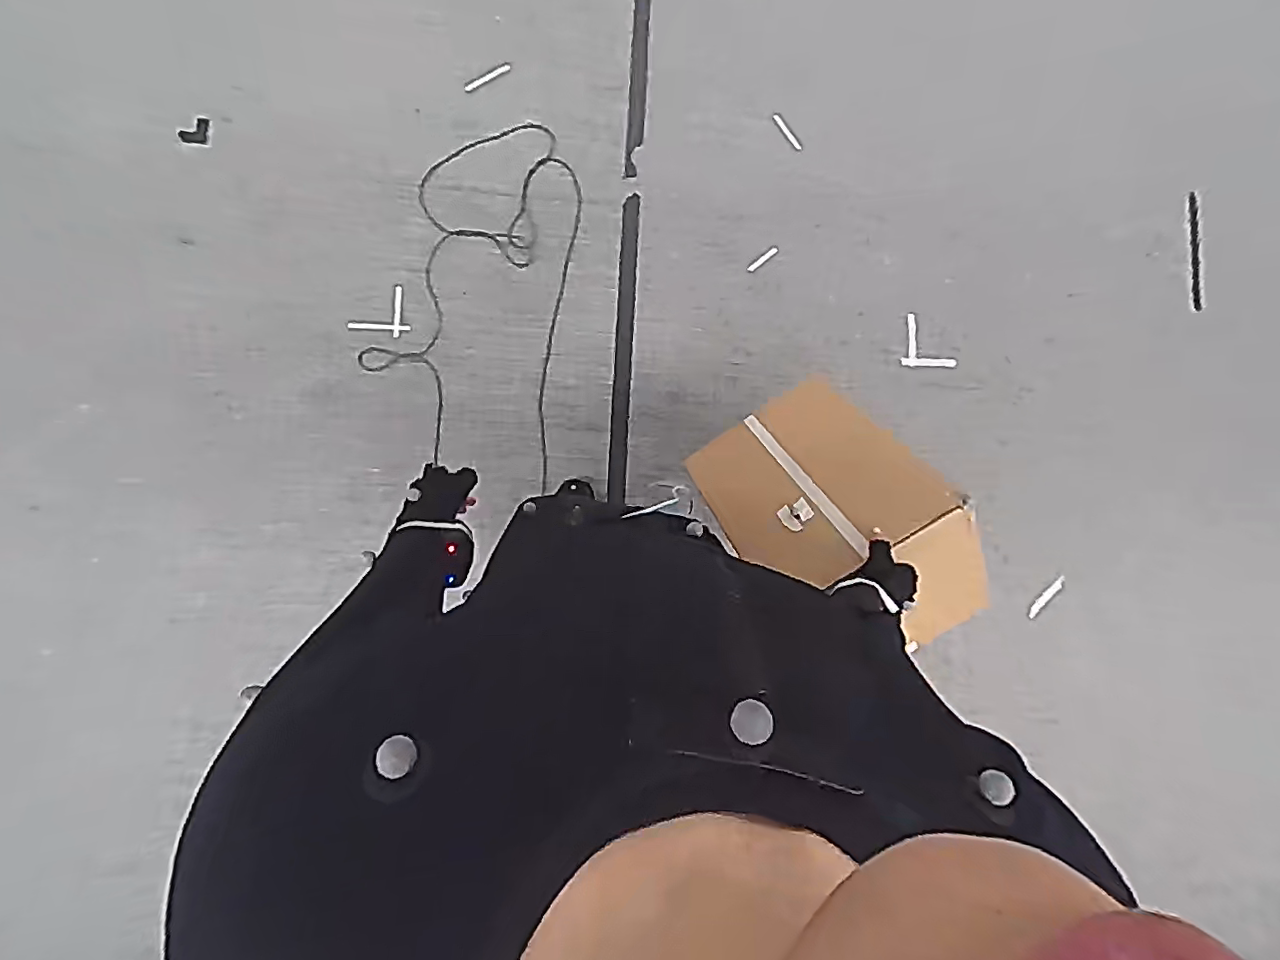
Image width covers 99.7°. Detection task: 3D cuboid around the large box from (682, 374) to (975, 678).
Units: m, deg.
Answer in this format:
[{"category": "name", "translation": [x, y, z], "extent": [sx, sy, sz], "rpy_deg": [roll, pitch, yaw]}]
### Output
[{"category": "large box", "translation": [0.336, 0.077, 1.012], "extent": [0.320, 0.408, 0.320], "rpy_deg": [-35, 131, 7]}]
